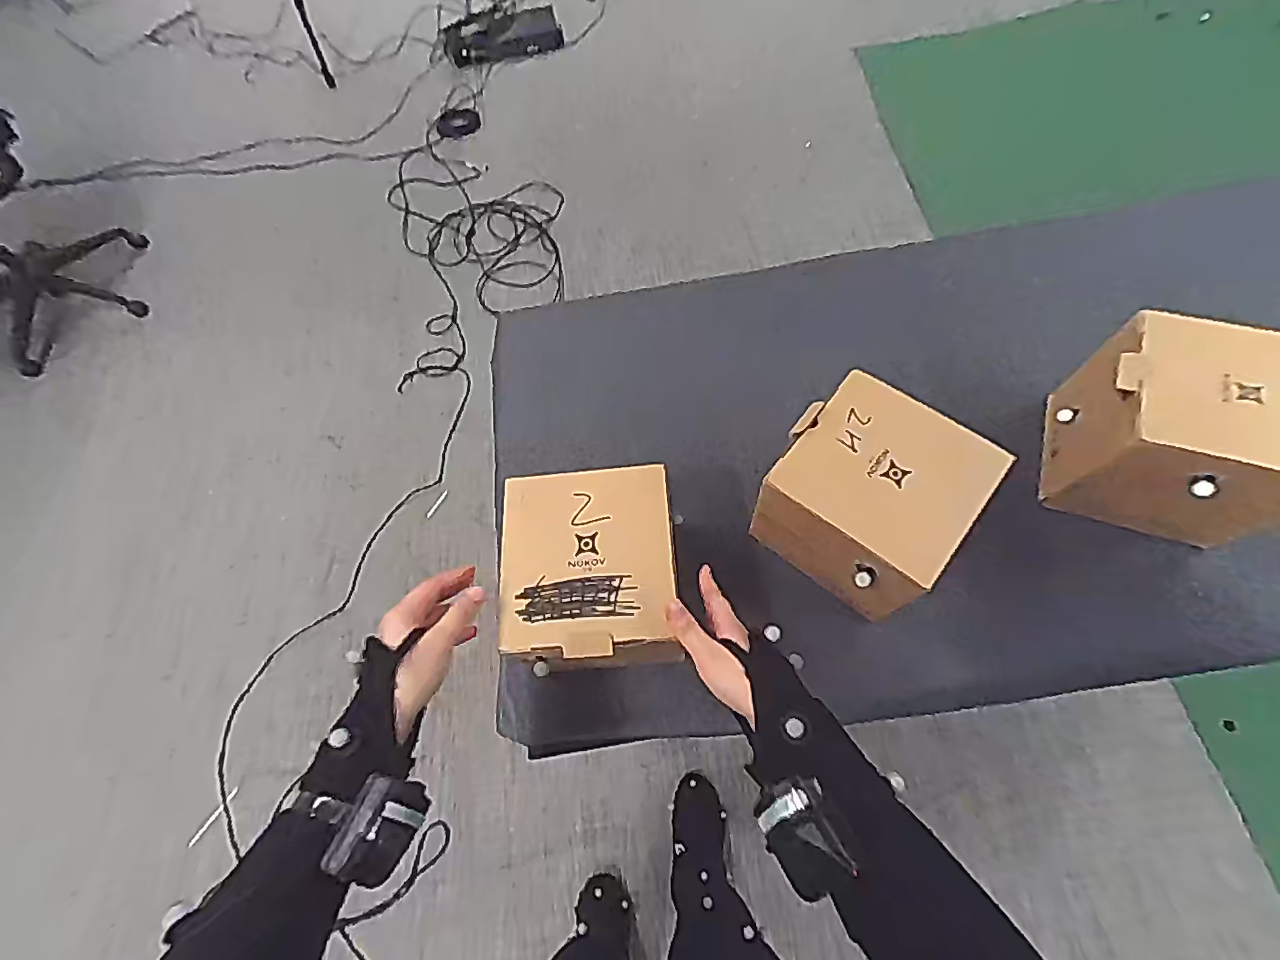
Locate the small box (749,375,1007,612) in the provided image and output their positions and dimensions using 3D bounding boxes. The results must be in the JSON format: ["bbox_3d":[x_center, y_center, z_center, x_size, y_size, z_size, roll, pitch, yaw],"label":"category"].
[{"bbox_3d":[0.240,0.026,0.593,0.179,0.176,0.168,36,74,20],"label":"small box"}]

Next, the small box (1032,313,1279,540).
[{"bbox_3d":[0.577,-0.048,0.592,0.179,0.176,0.168,16,68,14],"label":"small box"}]
